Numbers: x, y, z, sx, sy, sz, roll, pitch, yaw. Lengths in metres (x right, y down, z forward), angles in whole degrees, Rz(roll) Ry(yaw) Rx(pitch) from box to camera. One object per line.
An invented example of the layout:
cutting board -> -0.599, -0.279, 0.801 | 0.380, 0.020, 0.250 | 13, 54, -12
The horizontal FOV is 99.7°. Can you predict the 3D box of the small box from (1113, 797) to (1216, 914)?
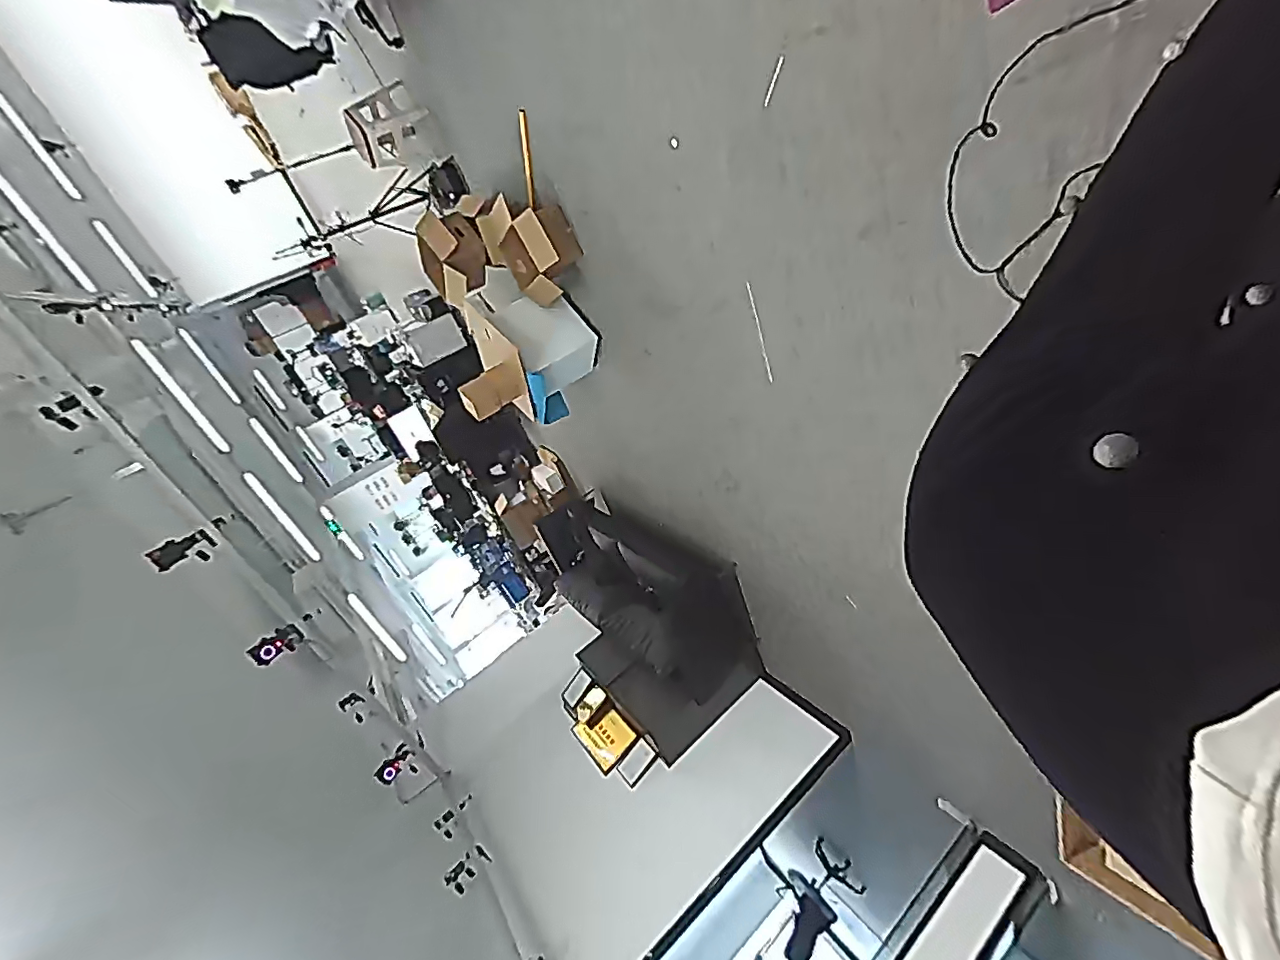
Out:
small box -> 1.452, 1.035, 1.500 | 0.168, 0.176, 0.179 | 20, 141, 54
